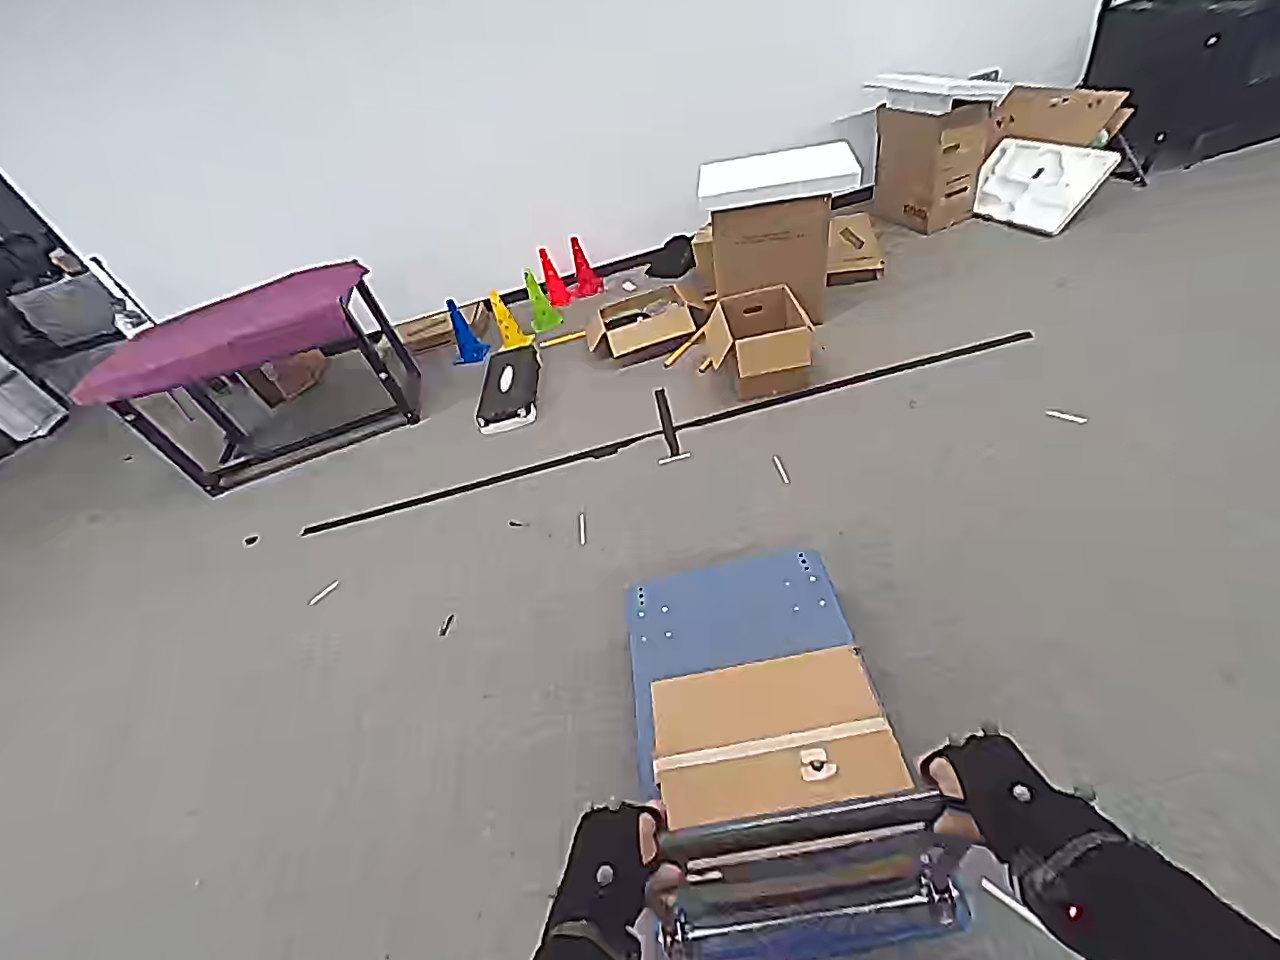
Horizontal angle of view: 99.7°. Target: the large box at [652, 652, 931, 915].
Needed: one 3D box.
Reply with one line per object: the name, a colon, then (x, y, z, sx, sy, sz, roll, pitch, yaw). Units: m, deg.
large box: (0.259, 0.576, 1.024, 0.408, 0.320, 0.320, -12, 43, 4)
